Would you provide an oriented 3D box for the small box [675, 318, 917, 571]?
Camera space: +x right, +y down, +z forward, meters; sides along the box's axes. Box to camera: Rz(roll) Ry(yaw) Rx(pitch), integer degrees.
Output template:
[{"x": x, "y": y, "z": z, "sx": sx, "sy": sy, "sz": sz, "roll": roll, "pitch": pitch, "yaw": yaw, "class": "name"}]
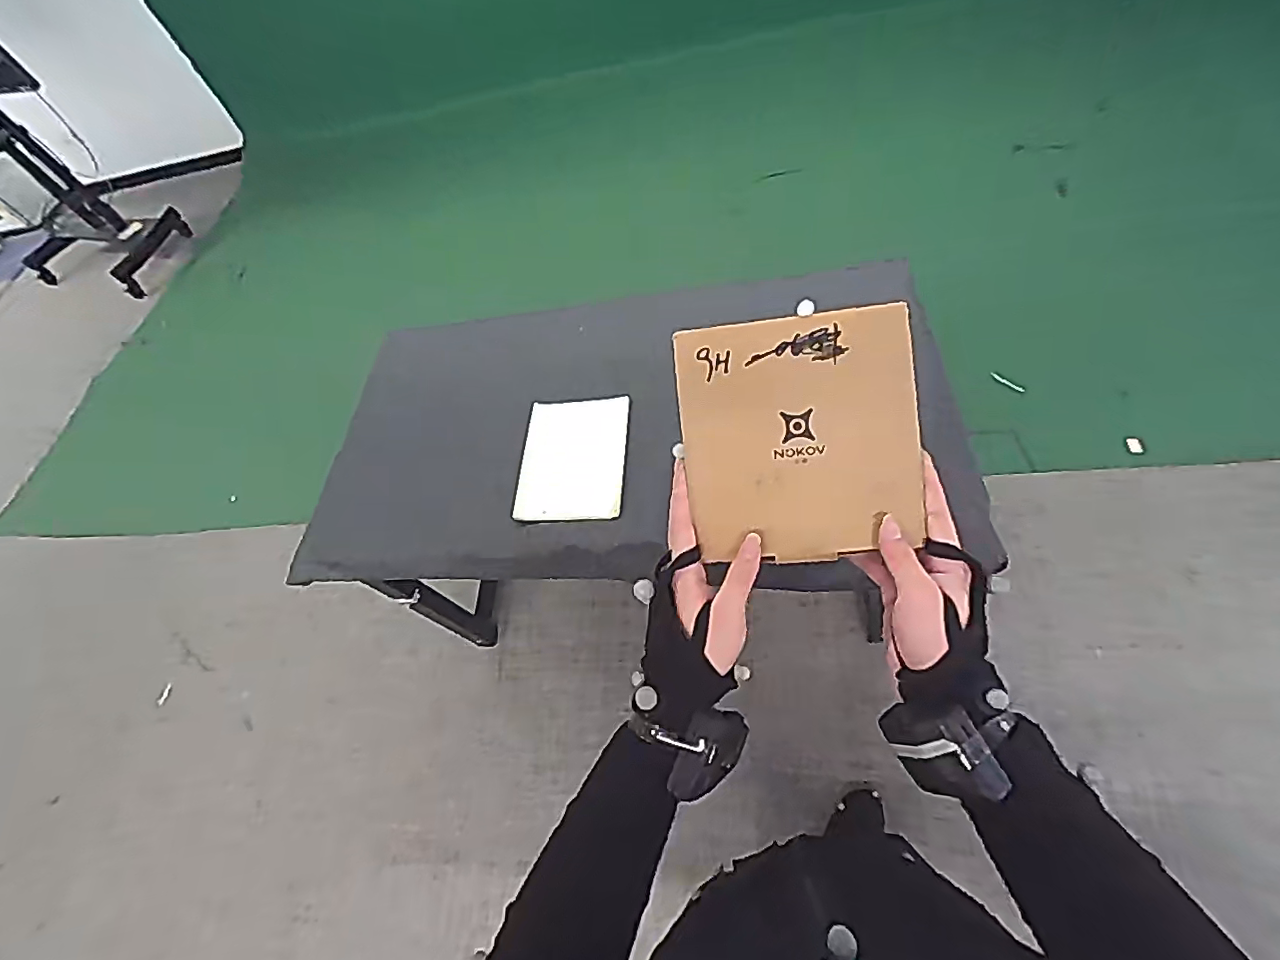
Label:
[{"x": 0.124, "y": -0.029, "z": 0.474, "sx": 0.168, "sy": 0.176, "sz": 0.179, "roll": -5, "pitch": 94, "yaw": 8, "class": "small box"}]
